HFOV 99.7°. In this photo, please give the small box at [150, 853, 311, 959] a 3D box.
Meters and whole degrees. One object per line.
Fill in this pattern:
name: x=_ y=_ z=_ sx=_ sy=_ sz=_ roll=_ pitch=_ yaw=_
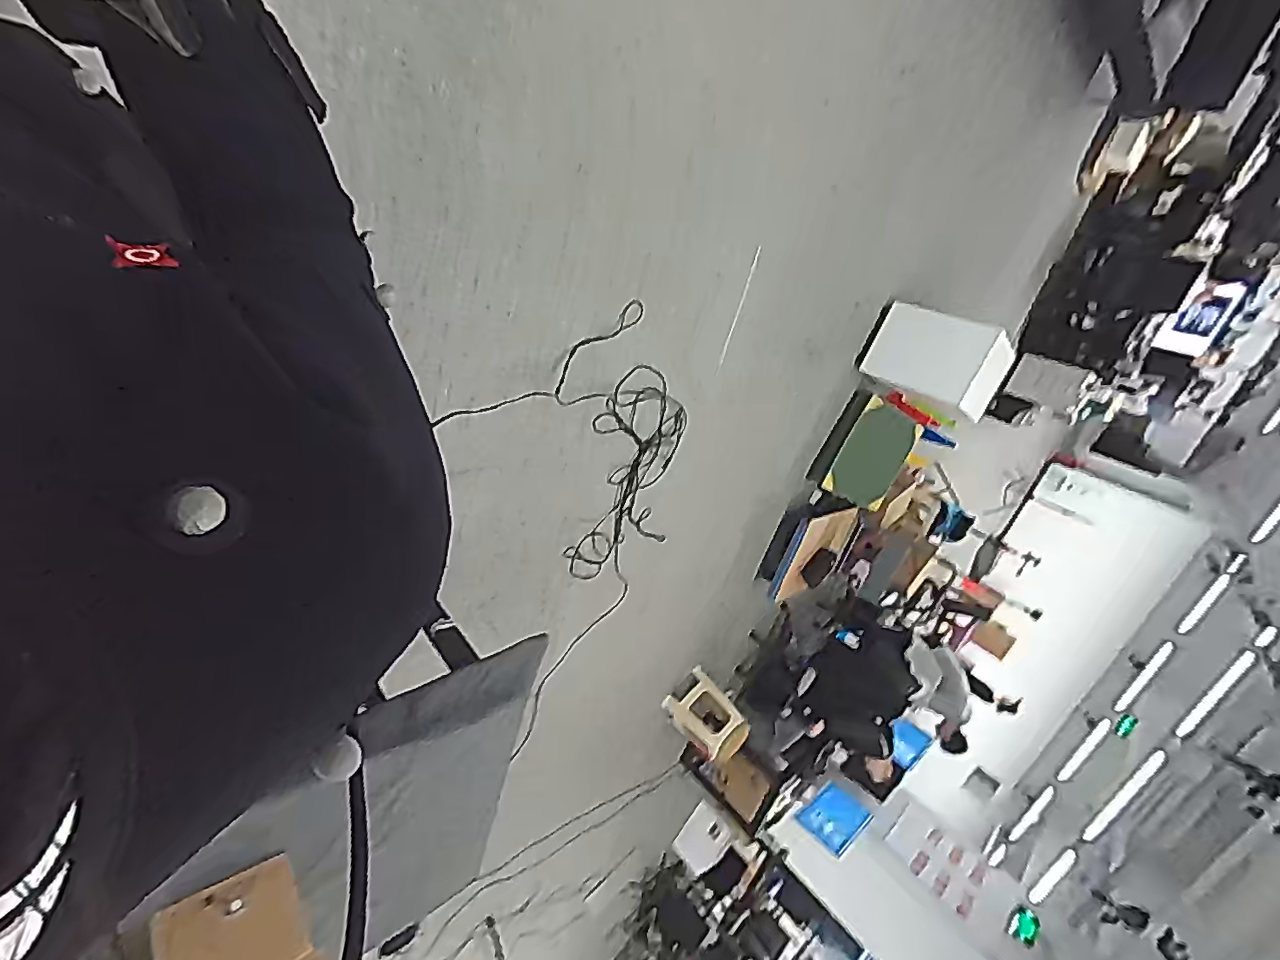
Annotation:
small box: x=-0.612 y=0.718 z=0.808 sx=0.168 sy=0.176 sz=0.179 roll=-6 pitch=121 yaw=-46
